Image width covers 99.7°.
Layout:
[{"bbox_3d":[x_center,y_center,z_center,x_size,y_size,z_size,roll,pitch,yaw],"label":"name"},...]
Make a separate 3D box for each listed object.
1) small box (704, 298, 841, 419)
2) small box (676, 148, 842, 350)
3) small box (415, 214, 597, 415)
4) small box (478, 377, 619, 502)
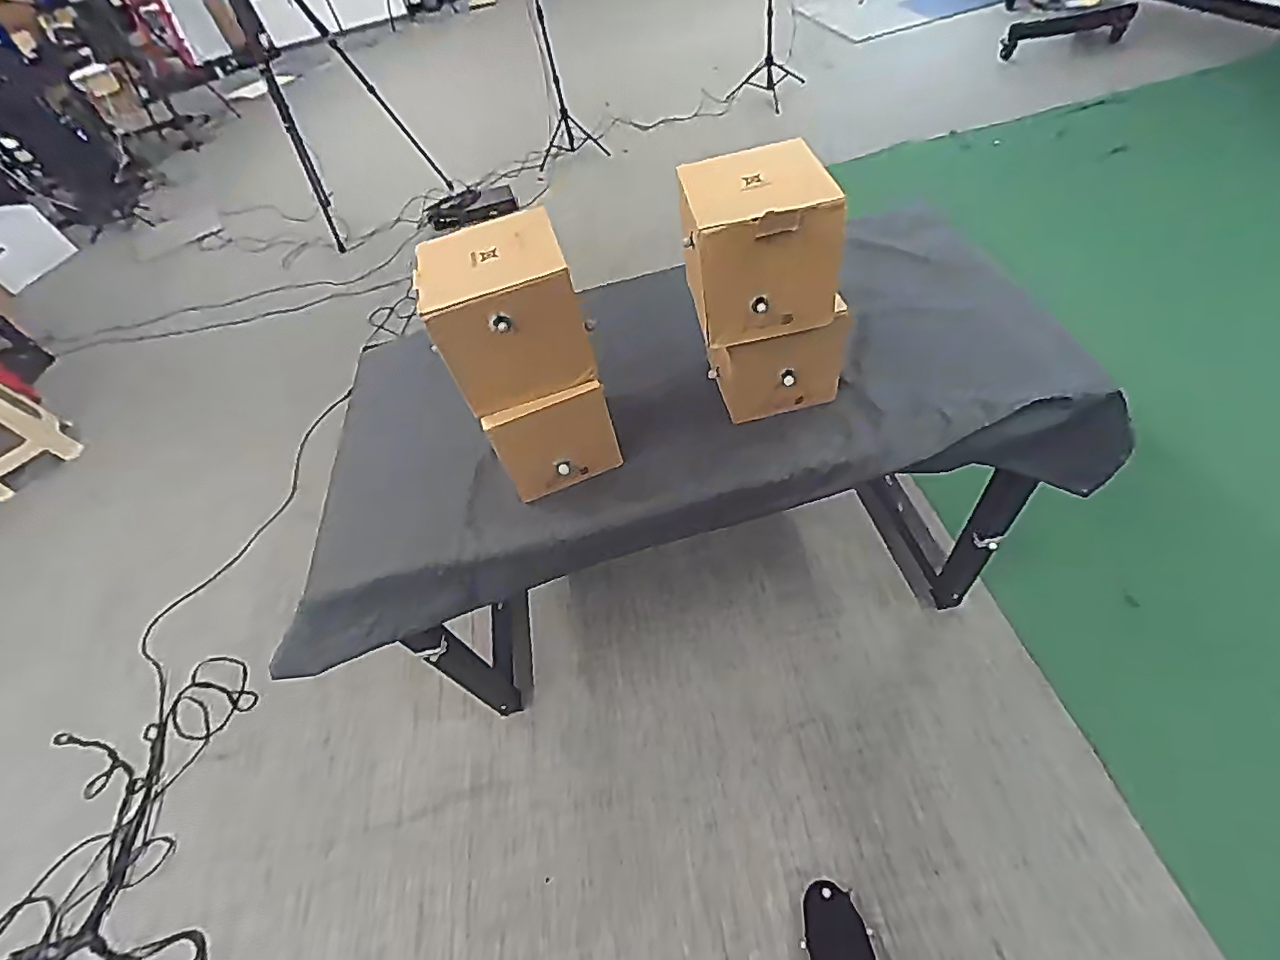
[{"bbox_3d":[0.195,-0.214,0.844,0.168,0.176,0.179,-14,51,1],"label":"small box"},{"bbox_3d":[0.146,-0.299,0.711,0.168,0.176,0.179,-11,51,3],"label":"small box"},{"bbox_3d":[-0.171,-0.211,0.708,0.179,0.176,0.168,-18,52,-4],"label":"small box"},{"bbox_3d":[-0.145,-0.099,0.824,0.168,0.176,0.179,-22,51,-6],"label":"small box"}]
